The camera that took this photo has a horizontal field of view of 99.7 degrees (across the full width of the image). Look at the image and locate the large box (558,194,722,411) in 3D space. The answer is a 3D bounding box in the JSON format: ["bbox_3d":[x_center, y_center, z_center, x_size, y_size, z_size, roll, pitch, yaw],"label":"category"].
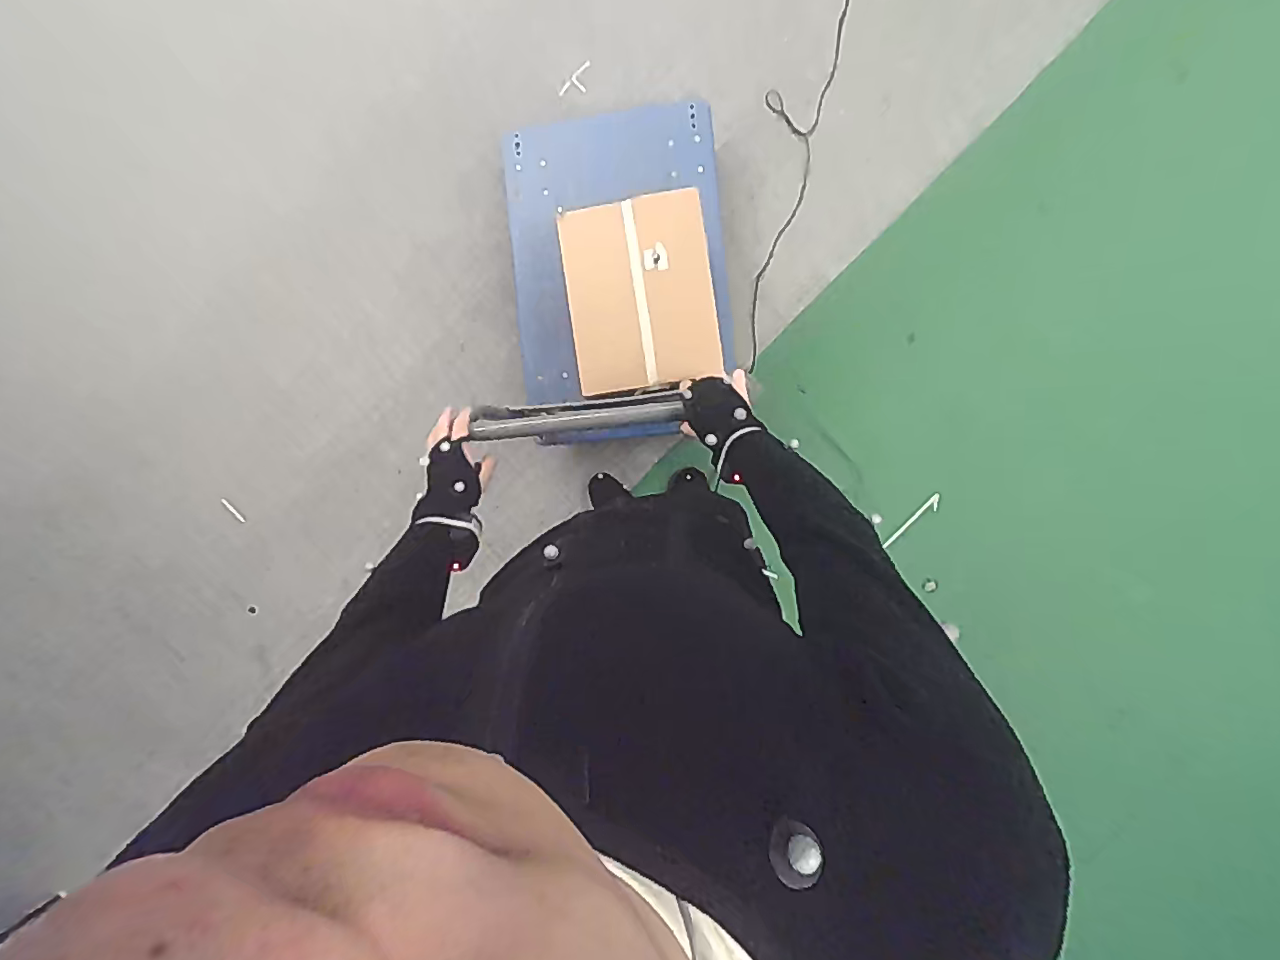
[{"bbox_3d":[0.012,-0.406,1.333,0.320,0.320,0.408,-8,90,4],"label":"large box"}]
